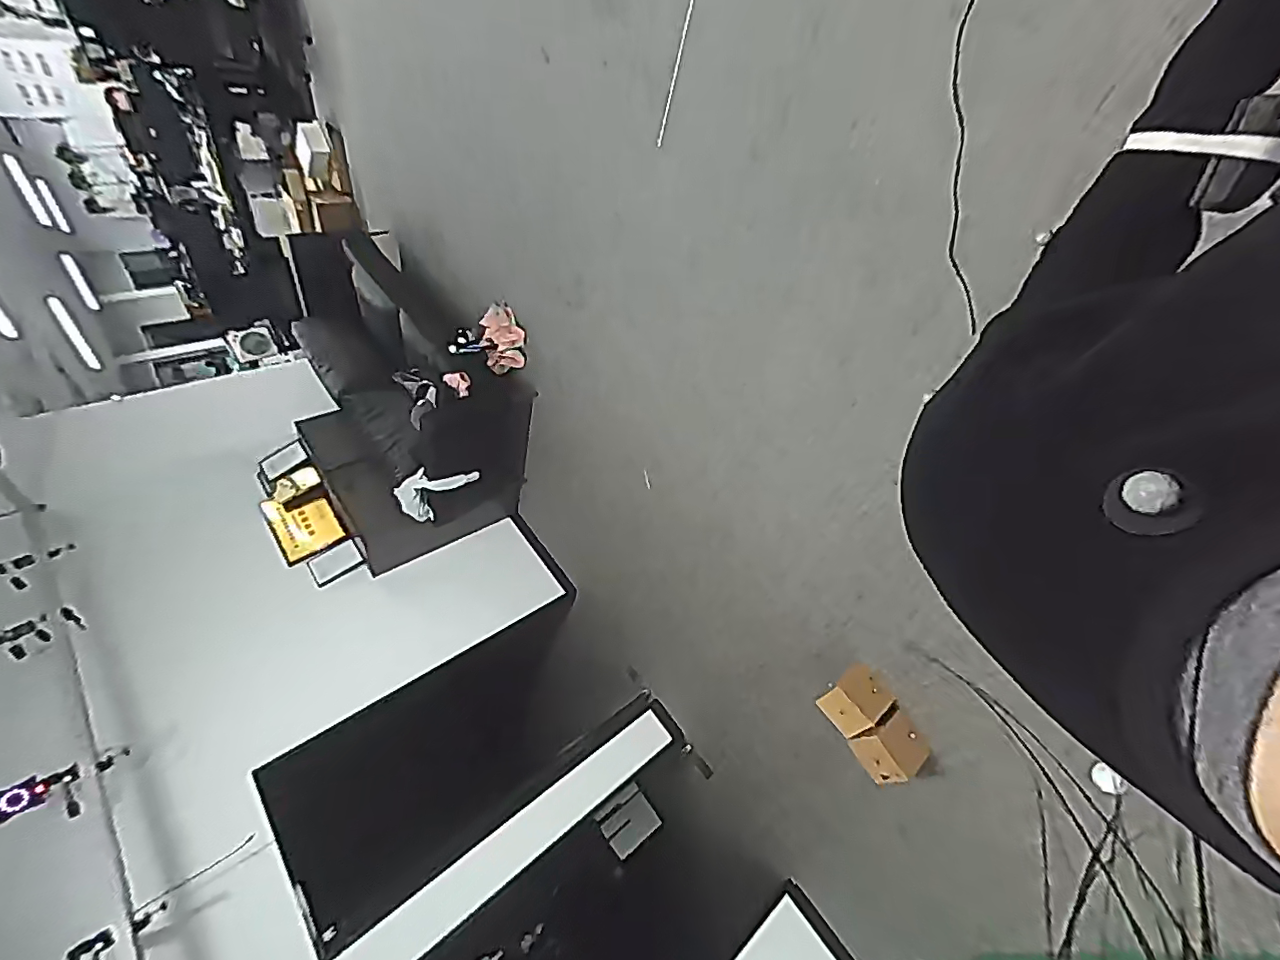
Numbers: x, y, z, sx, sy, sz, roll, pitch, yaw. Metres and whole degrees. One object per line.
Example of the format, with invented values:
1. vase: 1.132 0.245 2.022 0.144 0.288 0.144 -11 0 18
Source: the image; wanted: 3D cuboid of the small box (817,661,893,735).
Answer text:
1. small box: 0.809 0.817 2.029 0.168 0.176 0.179 48 142 23
